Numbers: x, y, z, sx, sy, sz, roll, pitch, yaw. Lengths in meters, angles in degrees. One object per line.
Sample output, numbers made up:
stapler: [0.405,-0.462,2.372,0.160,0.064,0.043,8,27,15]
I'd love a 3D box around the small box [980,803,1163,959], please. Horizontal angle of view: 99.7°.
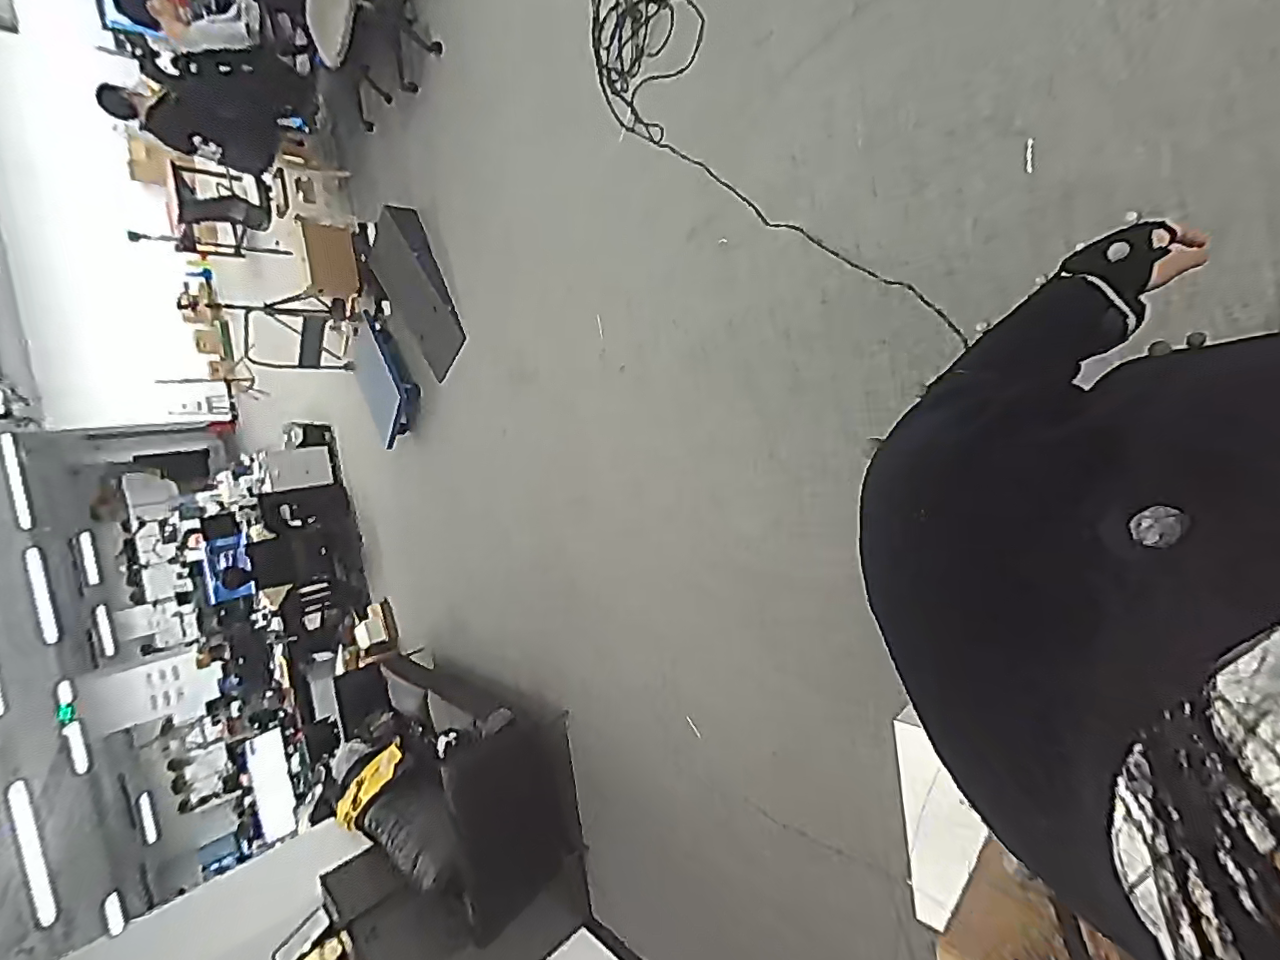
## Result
small box: [0.593,0.595,0.742,0.168,0.176,0.179,-4,95,48]
